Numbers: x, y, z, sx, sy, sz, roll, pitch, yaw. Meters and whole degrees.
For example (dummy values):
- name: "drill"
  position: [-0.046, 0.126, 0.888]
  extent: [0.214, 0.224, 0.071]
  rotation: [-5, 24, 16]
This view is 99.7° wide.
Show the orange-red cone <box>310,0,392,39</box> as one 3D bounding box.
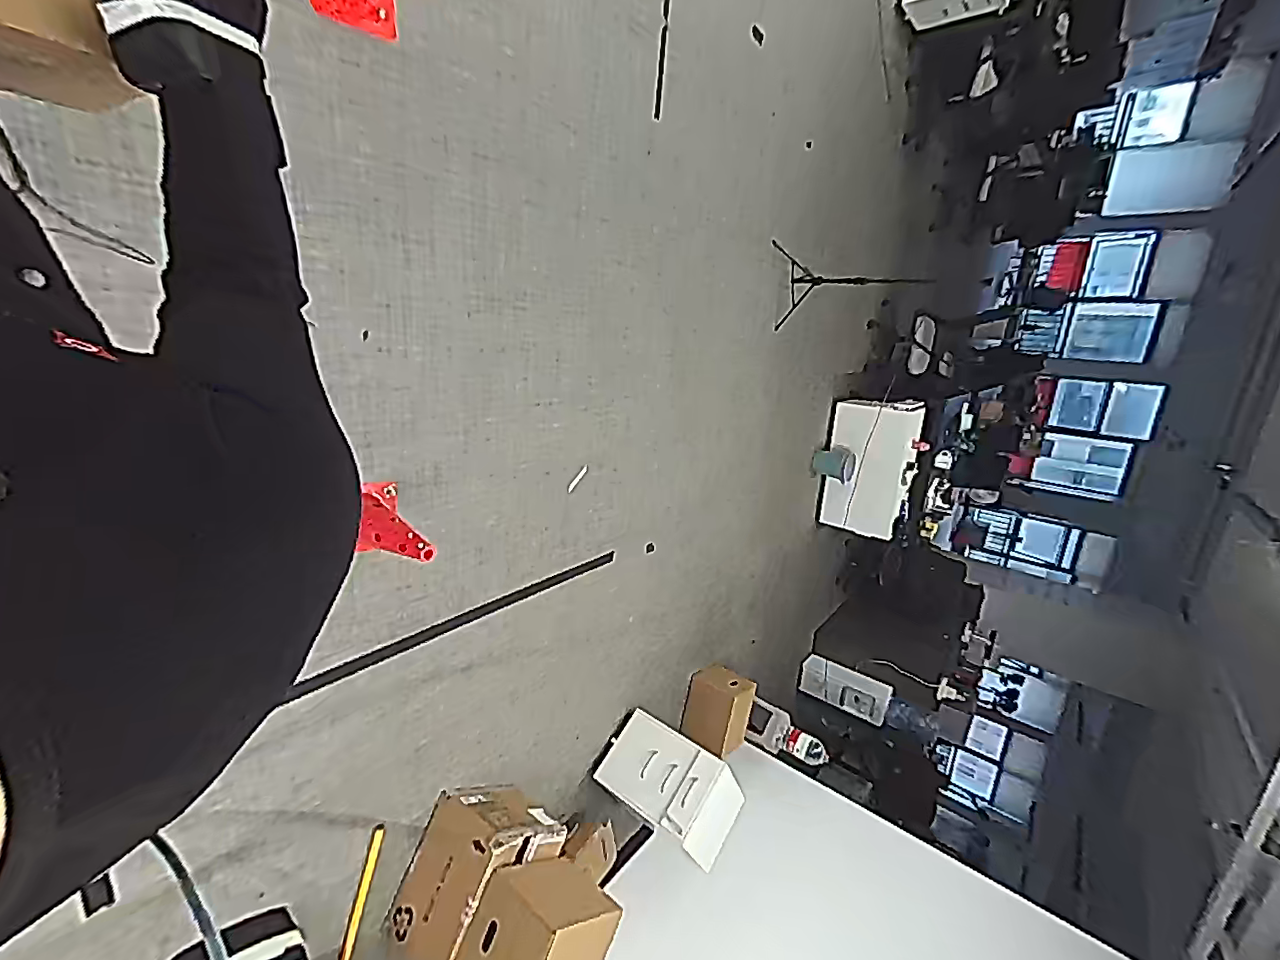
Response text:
- name: "orange-red cone"
  position: [-0.530, -1.117, 1.127]
  extent: [0.198, 0.360, 0.199]
  rotation: [-19, 116, -49]

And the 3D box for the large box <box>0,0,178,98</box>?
- name: "large box"
  position: [-0.547, -0.450, 0.269]
  extent: [0.408, 0.320, 0.320]
  rotation: [-15, 120, -50]

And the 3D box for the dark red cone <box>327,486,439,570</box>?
- name: "dark red cone"
  position: [-0.639, 0.150, 1.402]
  extent: [0.201, 0.394, 0.202]
  rotation: [-6, 107, -50]
